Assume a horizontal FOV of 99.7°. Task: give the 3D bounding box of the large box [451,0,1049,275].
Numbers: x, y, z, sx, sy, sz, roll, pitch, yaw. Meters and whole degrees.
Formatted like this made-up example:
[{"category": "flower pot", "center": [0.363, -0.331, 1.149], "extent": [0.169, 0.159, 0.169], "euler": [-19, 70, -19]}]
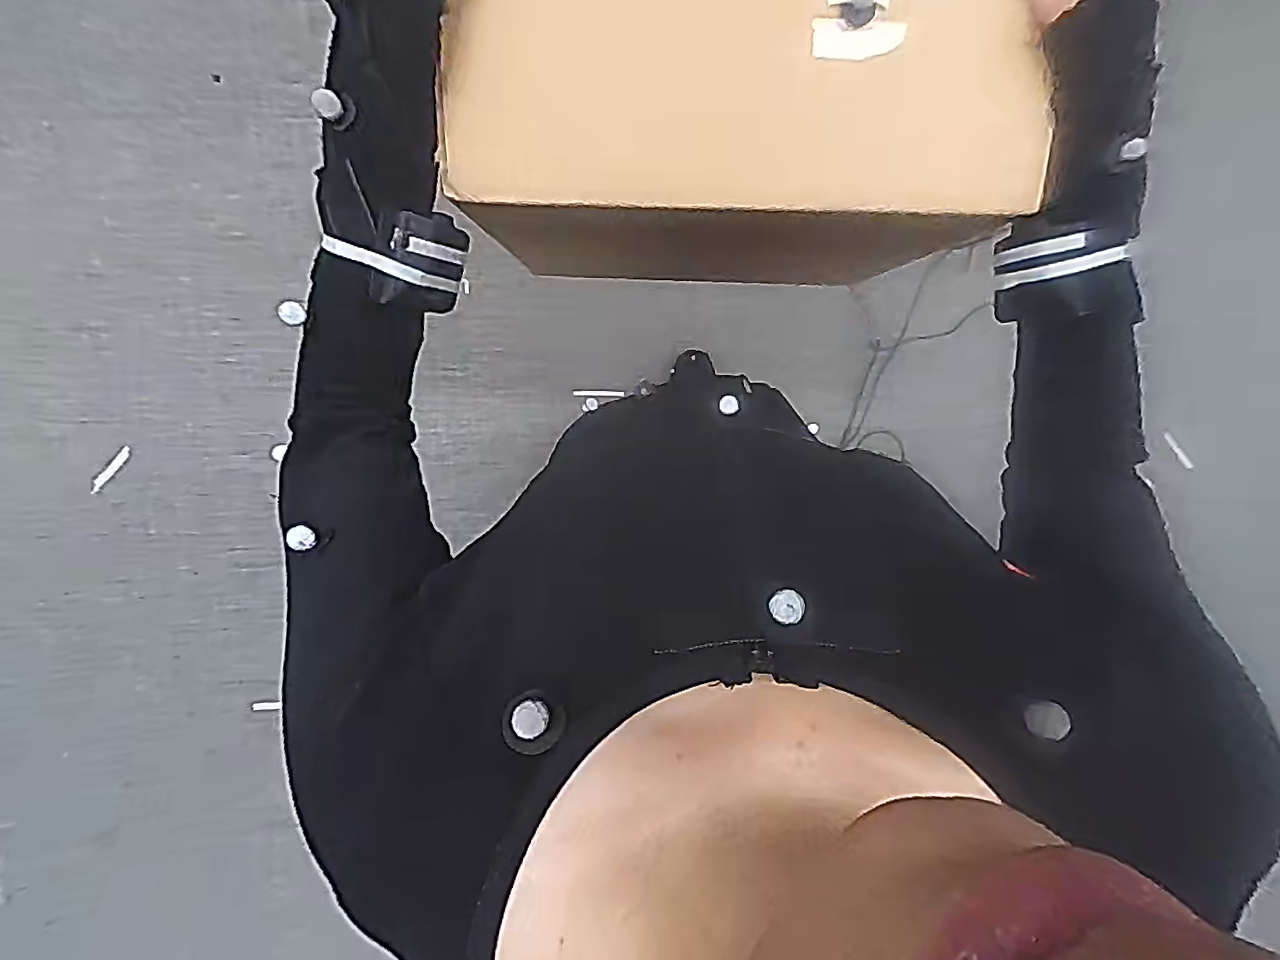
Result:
[{"category": "large box", "center": [0.070, -0.378, 0.497], "extent": [0.408, 0.320, 0.320], "euler": [1, 102, -1]}]
